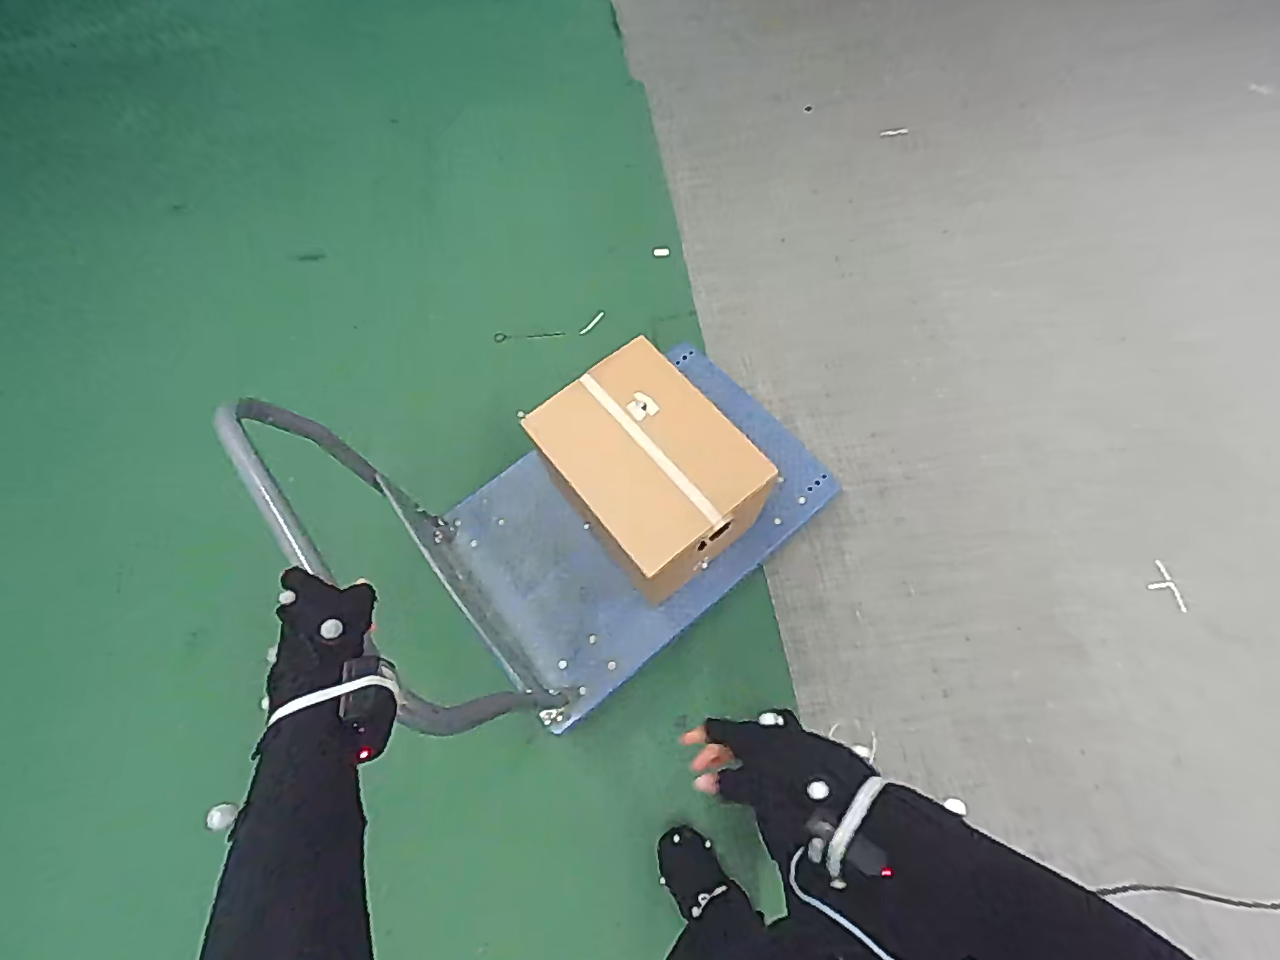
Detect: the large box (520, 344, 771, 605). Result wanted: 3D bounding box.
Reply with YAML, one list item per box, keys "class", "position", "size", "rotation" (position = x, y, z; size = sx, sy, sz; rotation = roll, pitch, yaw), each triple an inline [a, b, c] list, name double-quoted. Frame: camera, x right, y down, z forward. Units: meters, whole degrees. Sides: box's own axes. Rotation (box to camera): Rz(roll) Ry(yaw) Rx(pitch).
- class: "large box"
  position: [0.014, 0.000, 1.169]
  size: [0.320, 0.320, 0.408]
  rotation: [-37, 69, -13]
